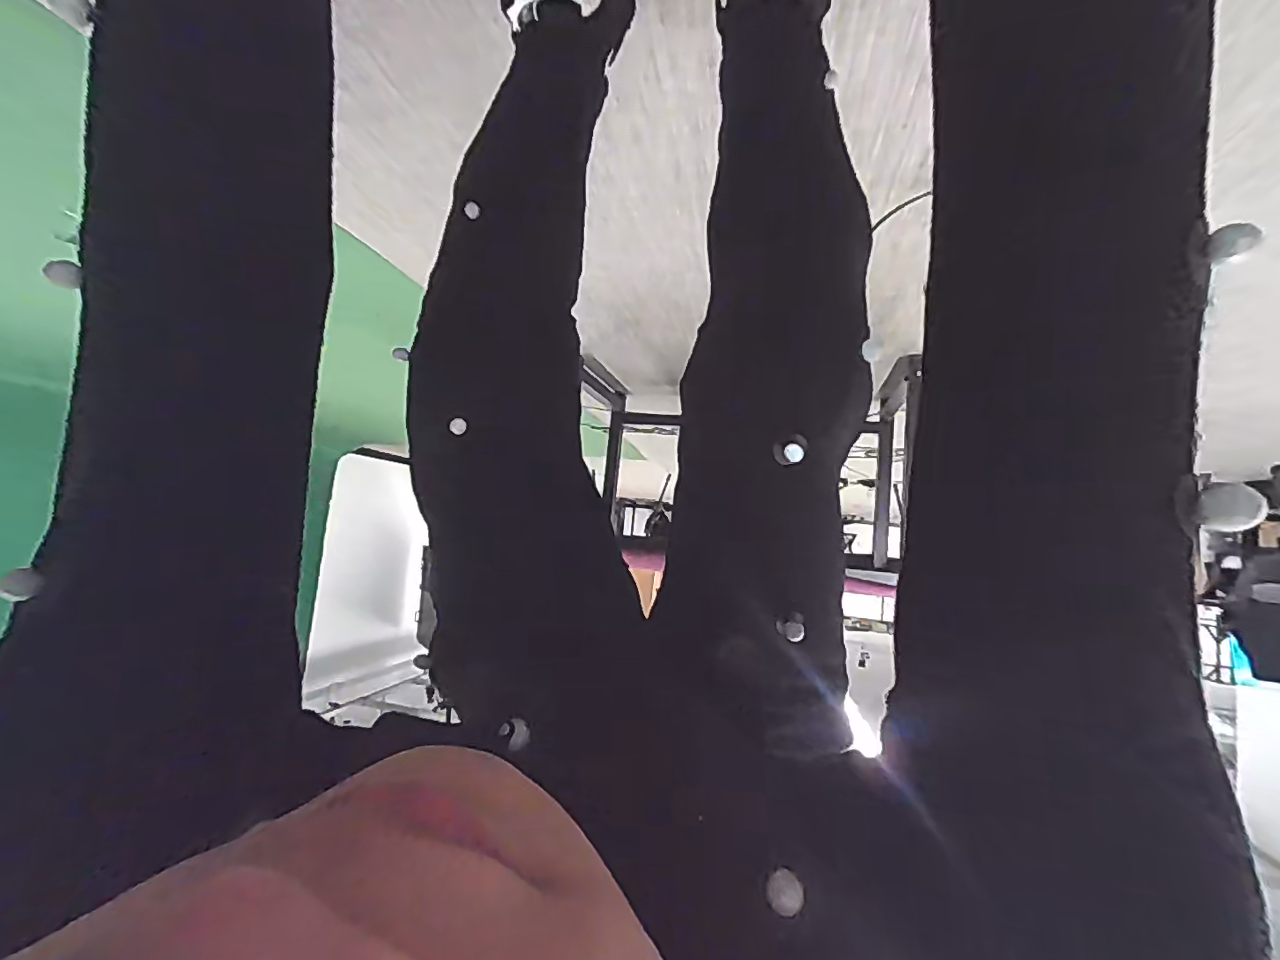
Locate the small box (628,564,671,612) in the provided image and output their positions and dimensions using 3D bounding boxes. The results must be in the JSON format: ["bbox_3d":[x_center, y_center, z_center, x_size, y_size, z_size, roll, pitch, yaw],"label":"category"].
[{"bbox_3d":[0.031,0.423,2.139,0.168,0.176,0.179,4,174,8],"label":"small box"}]

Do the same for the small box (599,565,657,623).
[{"bbox_3d":[-0.037,0.391,1.878,0.179,0.176,0.168,3,175,9],"label":"small box"}]
